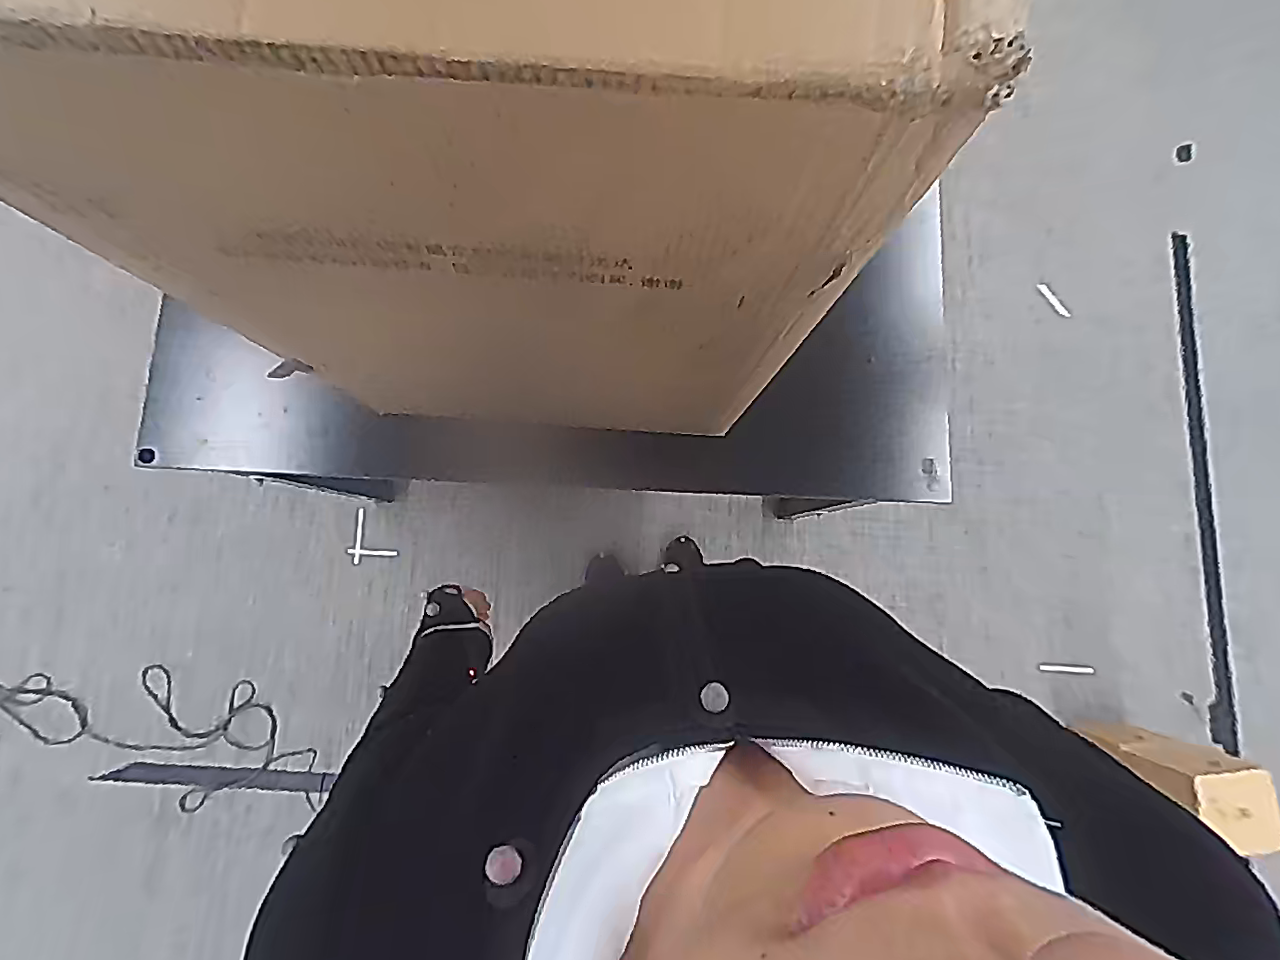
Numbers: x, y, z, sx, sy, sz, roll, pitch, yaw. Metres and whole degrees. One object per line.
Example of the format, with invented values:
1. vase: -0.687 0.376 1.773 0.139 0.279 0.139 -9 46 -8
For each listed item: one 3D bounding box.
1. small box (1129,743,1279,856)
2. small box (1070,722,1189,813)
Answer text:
1. small box: 1.281 0.714 1.229 0.179 0.176 0.168 -5 81 -2
2. small box: 1.264 0.733 1.392 0.179 0.176 0.168 -1 81 0
